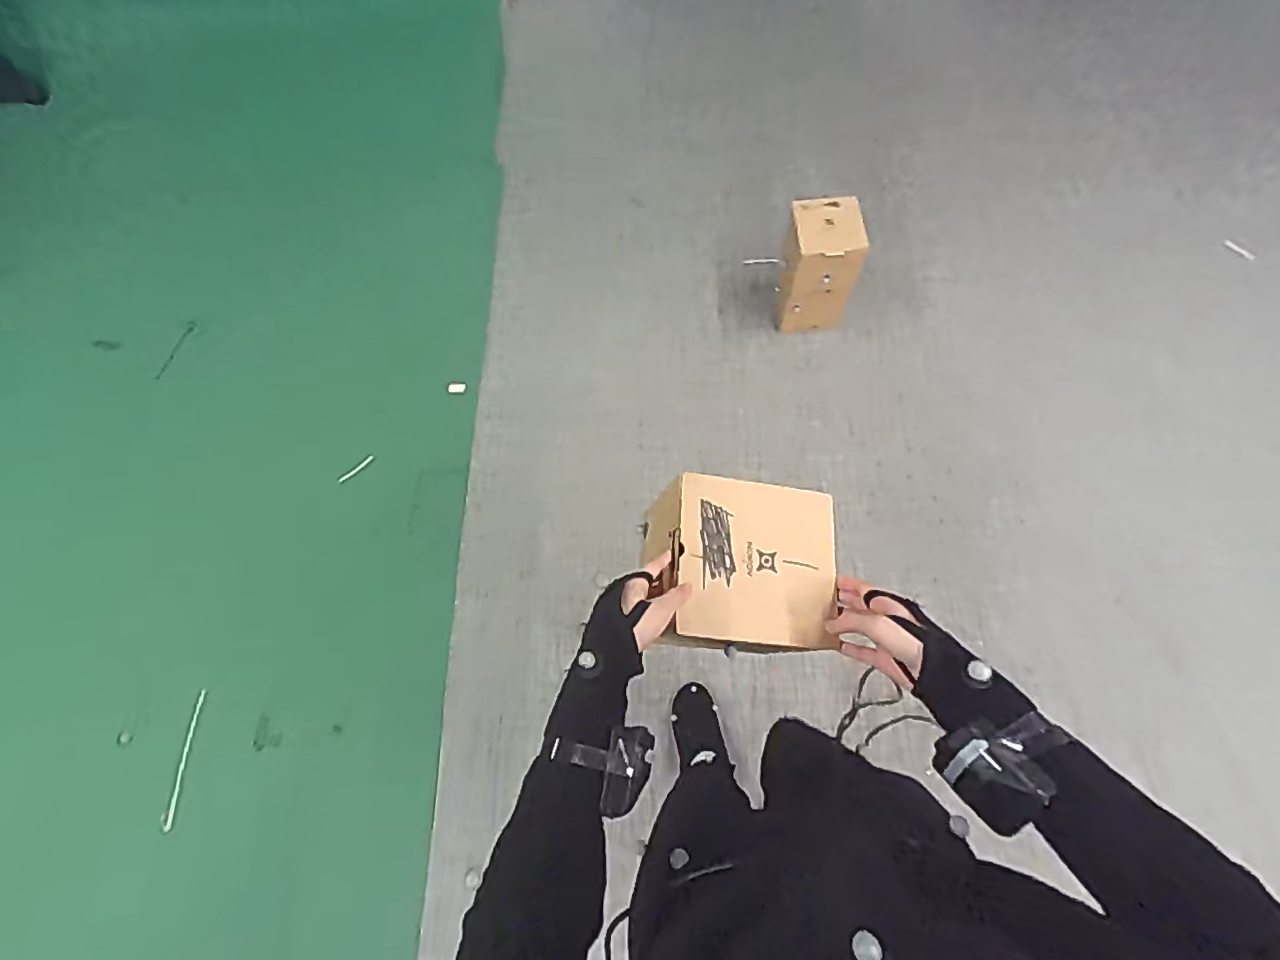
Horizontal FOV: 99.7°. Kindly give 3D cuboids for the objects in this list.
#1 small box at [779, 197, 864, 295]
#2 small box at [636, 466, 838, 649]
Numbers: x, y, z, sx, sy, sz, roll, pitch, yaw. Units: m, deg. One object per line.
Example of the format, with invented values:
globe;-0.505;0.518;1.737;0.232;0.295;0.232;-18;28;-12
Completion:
small box;0.472;-0.607;1.427;0.168;0.176;0.179;-4;71;3
small box;0.099;0.099;0.615;0.179;0.176;0.168;9;70;-12
